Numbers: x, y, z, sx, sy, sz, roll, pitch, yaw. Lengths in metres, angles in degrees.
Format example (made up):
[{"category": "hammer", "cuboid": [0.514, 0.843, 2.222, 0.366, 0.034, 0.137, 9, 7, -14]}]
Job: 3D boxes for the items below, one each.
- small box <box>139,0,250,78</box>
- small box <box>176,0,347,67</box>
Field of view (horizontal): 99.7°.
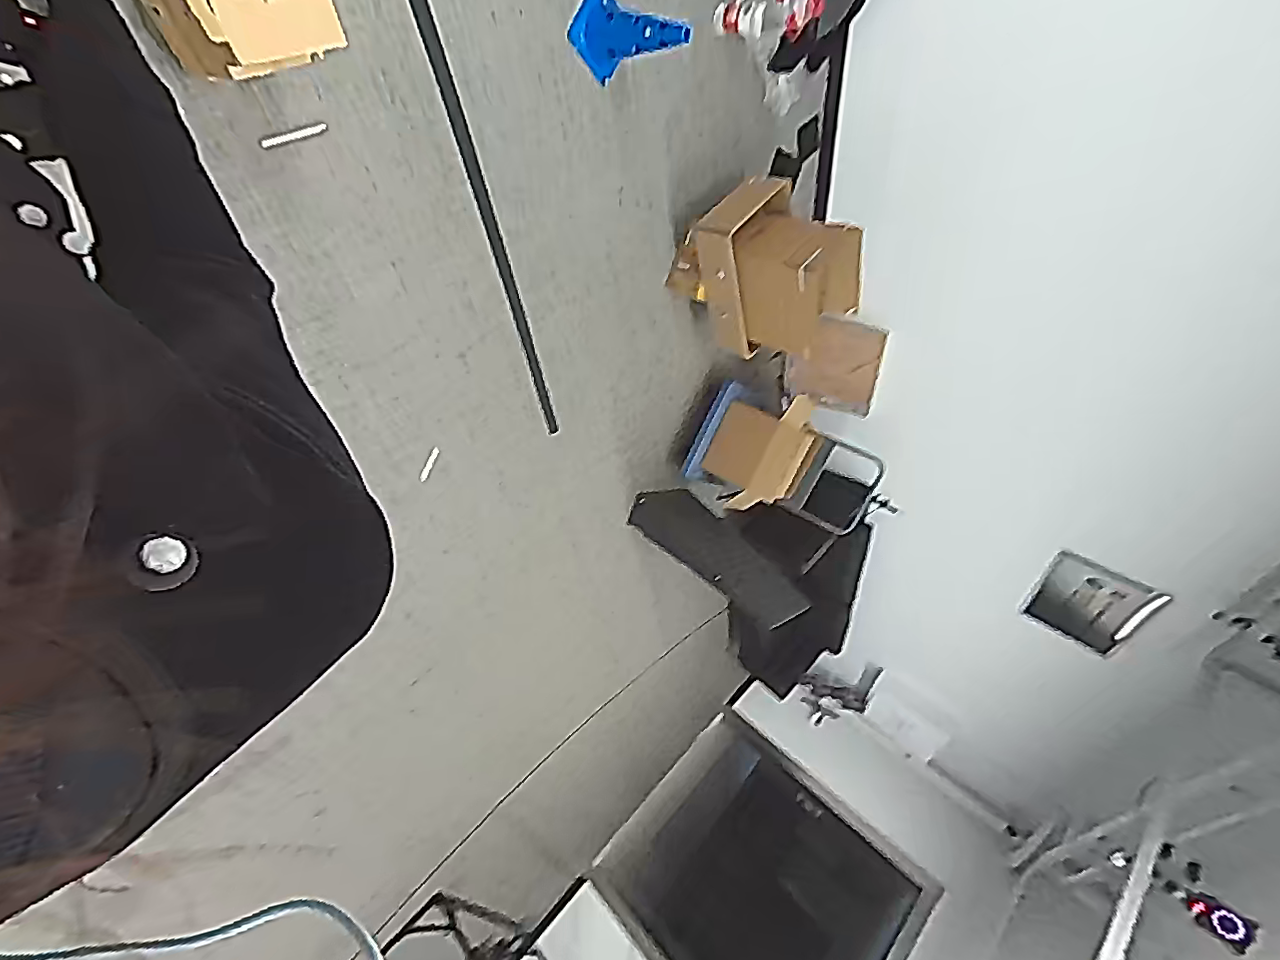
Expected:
[{"category": "small box", "cuboid": [-0.821, -0.889, 1.028, 0.179, 0.176, 0.168, -42, 143, -23]}, {"category": "small box", "cuboid": [-0.598, -0.752, 0.825, 0.179, 0.176, 0.168, -38, 142, -27]}]
